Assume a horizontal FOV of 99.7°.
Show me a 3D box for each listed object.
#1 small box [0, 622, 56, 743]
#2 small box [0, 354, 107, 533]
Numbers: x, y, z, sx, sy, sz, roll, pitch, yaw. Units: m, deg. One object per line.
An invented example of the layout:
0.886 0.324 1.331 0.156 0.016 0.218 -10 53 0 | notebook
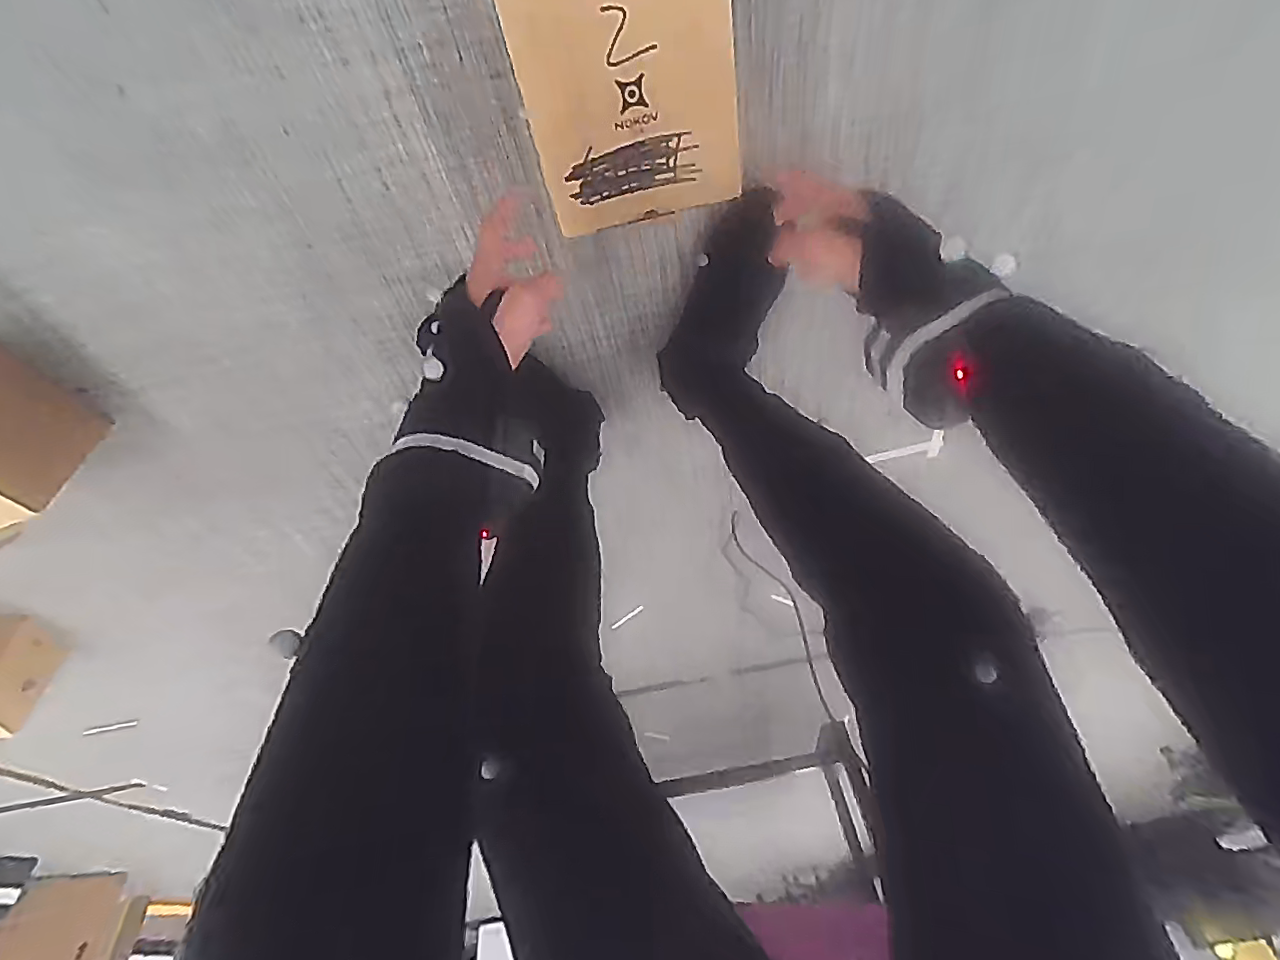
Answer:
-1.248 0.371 0.997 0.179 0.176 0.168 7 134 -17 | small box
-0.827 -0.042 0.649 0.168 0.176 0.179 -19 136 8 | small box
